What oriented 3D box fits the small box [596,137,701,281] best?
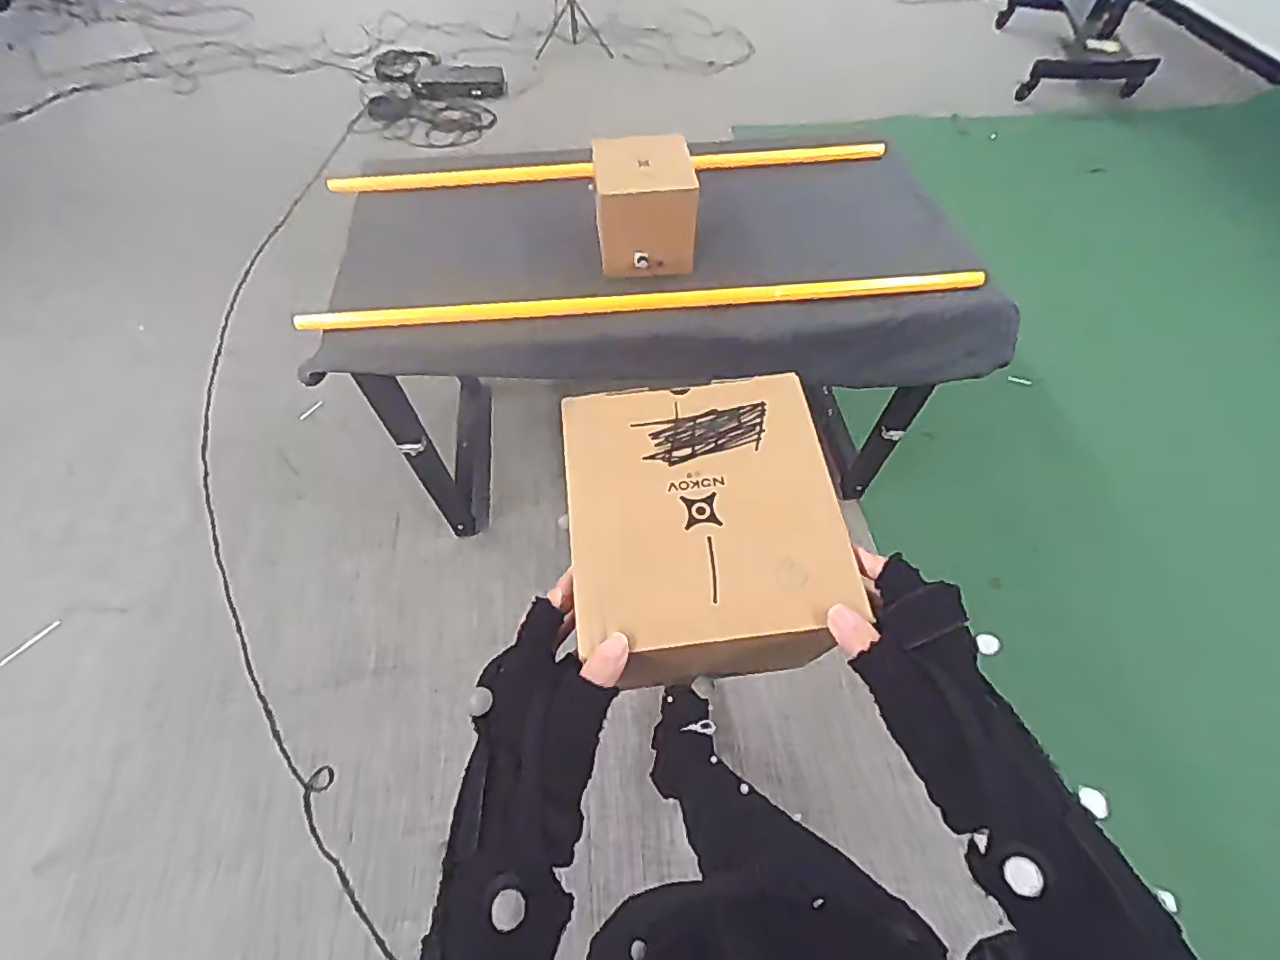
[{"bbox_3d":[0.011,-0.491,0.988,0.168,0.176,0.179,-7,59,-3],"label":"small box"}]

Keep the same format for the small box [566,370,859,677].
[{"bbox_3d":[0.038,0.042,0.414,0.168,0.176,0.179,-7,64,-1],"label":"small box"}]
